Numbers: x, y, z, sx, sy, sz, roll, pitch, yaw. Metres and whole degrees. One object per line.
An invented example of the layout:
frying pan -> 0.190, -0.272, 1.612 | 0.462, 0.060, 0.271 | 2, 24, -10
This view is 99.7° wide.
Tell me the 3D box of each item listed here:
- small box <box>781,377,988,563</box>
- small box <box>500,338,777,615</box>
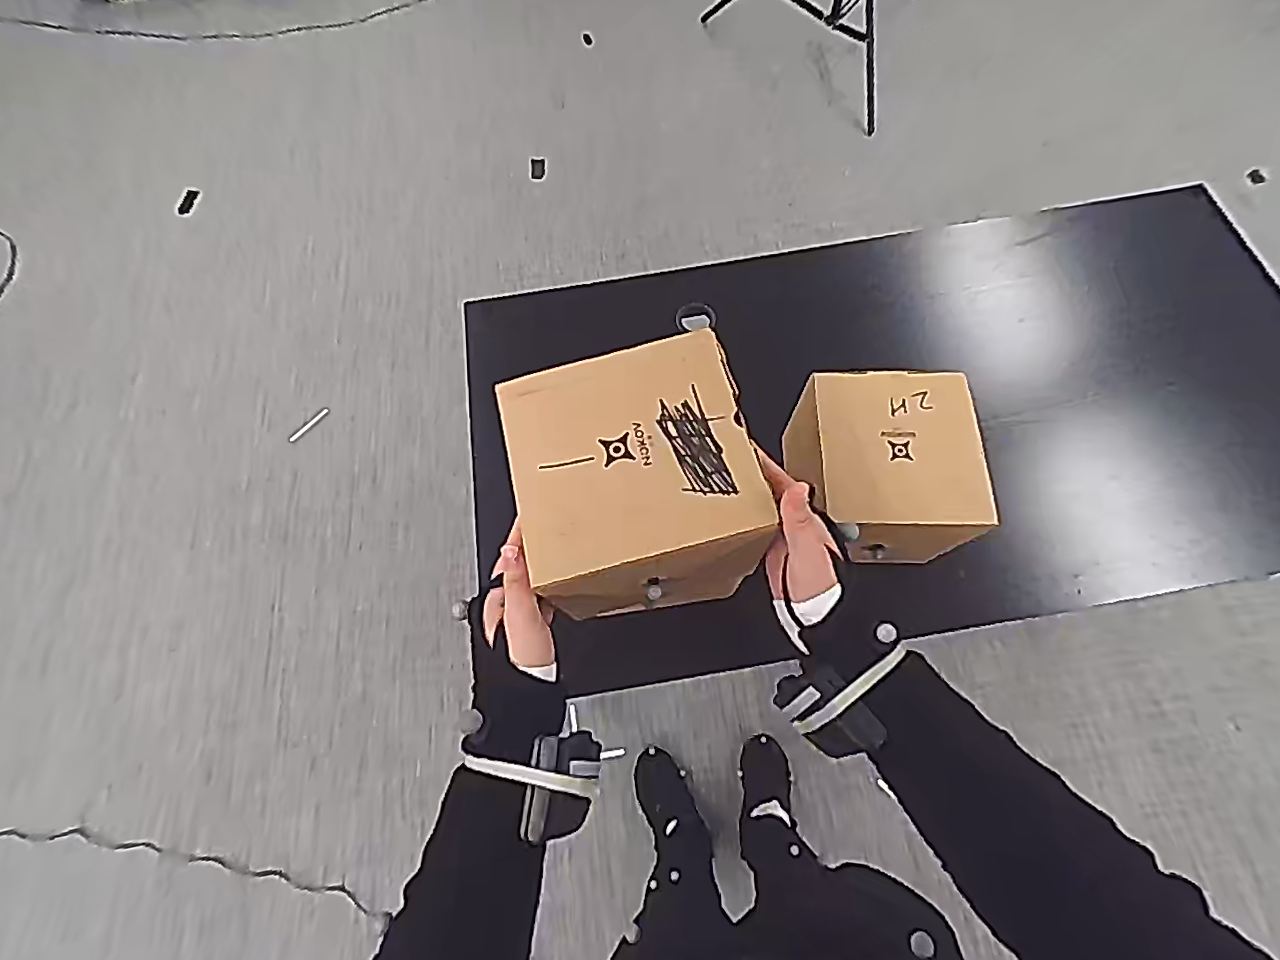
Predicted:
small box -> 0.269, -0.004, 0.640 | 0.168, 0.176, 0.179 | 1, 68, 3
small box -> -0.003, 0.009, 0.469 | 0.179, 0.176, 0.168 | -15, 68, -1
